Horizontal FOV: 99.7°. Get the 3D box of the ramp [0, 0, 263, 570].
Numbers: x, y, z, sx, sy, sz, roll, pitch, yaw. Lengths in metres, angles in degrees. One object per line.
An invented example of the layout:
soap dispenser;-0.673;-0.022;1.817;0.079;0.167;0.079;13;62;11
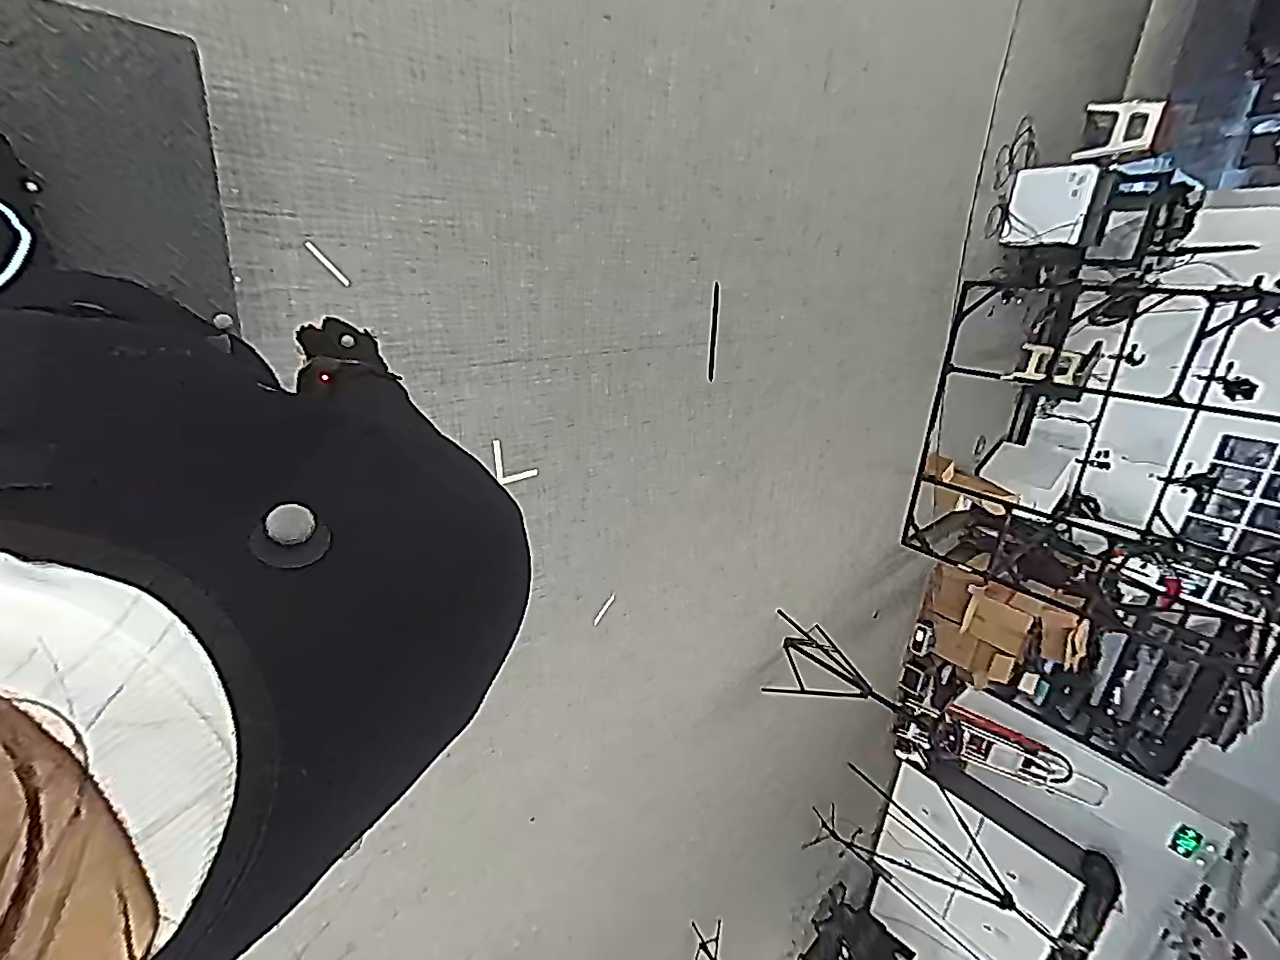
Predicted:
ramp;-1.041;-0.288;0.988;0.509;0.206;0.991;-16;119;-39
